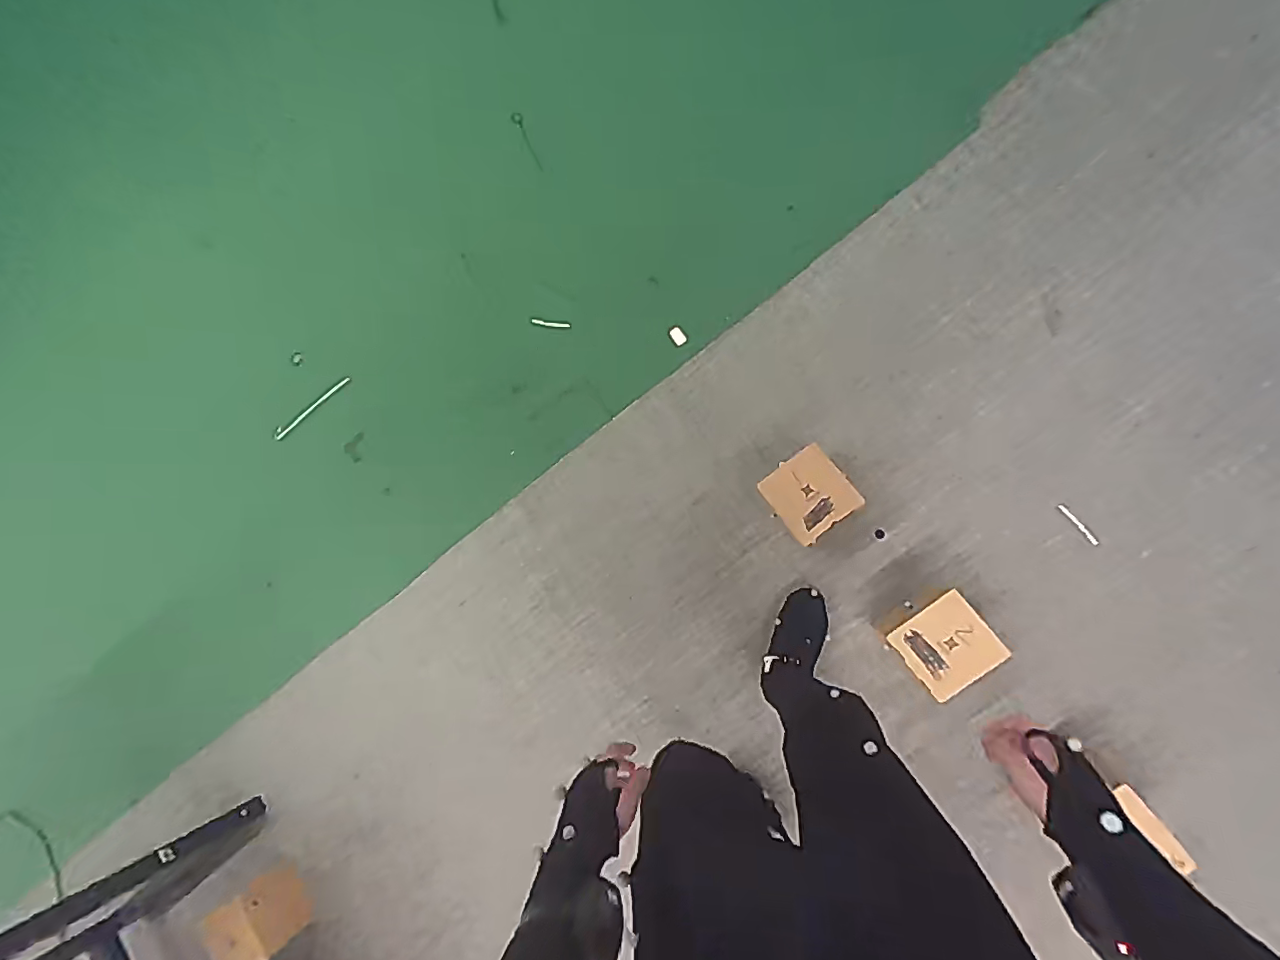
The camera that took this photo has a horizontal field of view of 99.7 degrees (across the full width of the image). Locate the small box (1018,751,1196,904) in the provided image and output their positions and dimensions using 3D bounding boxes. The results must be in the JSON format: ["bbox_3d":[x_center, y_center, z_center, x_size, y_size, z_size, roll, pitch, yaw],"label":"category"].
[{"bbox_3d":[0.915,0.676,1.084,0.168,0.176,0.179,-38,78,7],"label":"small box"}]

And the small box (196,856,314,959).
[{"bbox_3d":[-1.039,1.186,1.472,0.168,0.176,0.179,-38,78,7],"label":"small box"}]

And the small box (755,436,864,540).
[{"bbox_3d":[0.387,0.023,1.261,0.168,0.176,0.179,-38,77,6],"label":"small box"}]
